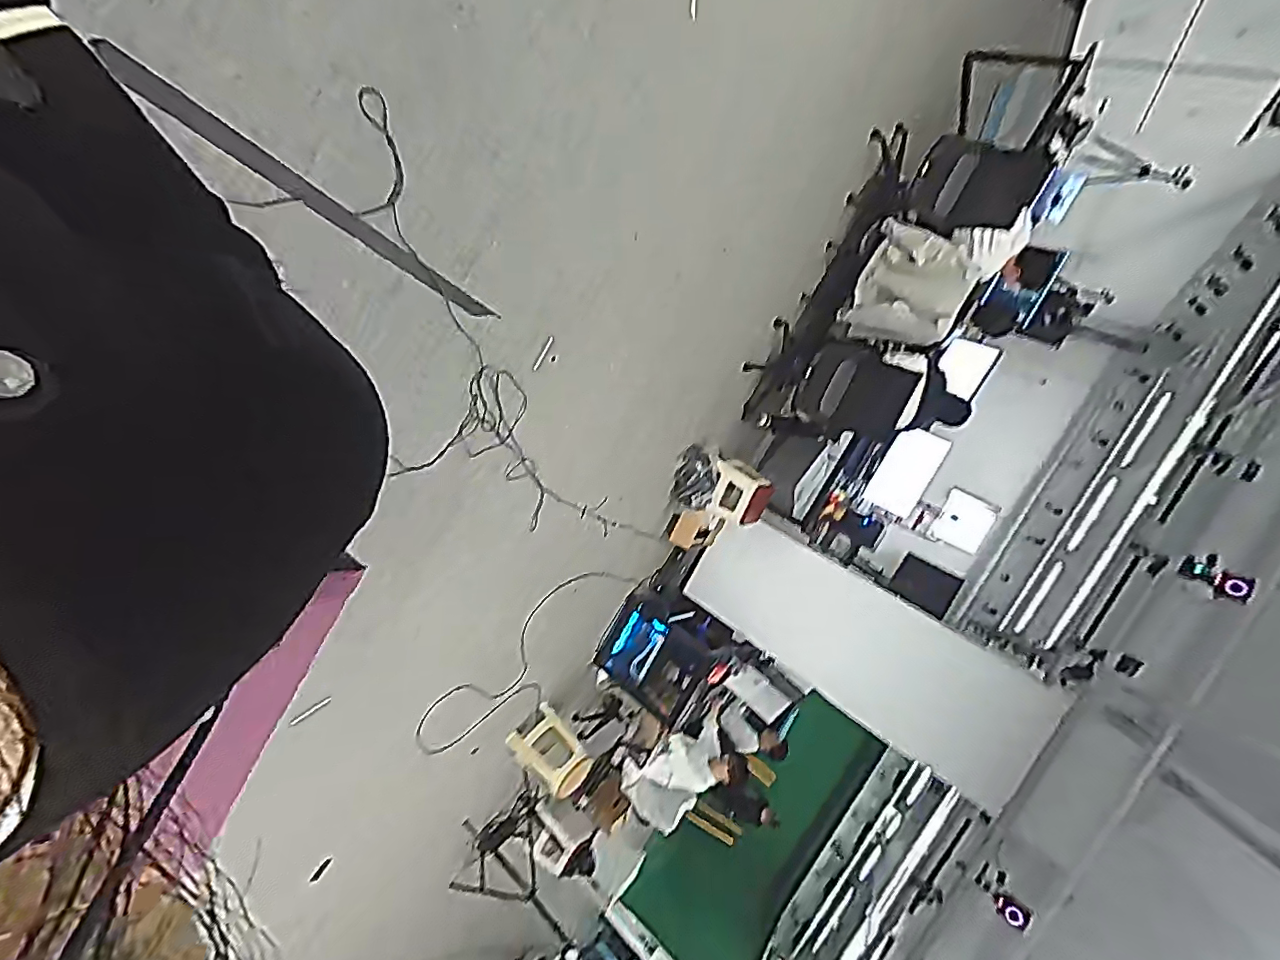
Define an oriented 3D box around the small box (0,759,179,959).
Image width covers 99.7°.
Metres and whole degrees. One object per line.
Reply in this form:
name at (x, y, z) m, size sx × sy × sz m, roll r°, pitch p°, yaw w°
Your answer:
small box at (-0.619, 0.417, 0.545) m, size 0.168 × 0.176 × 0.179 m, roll 12°, pitch 108°, yaw -60°
